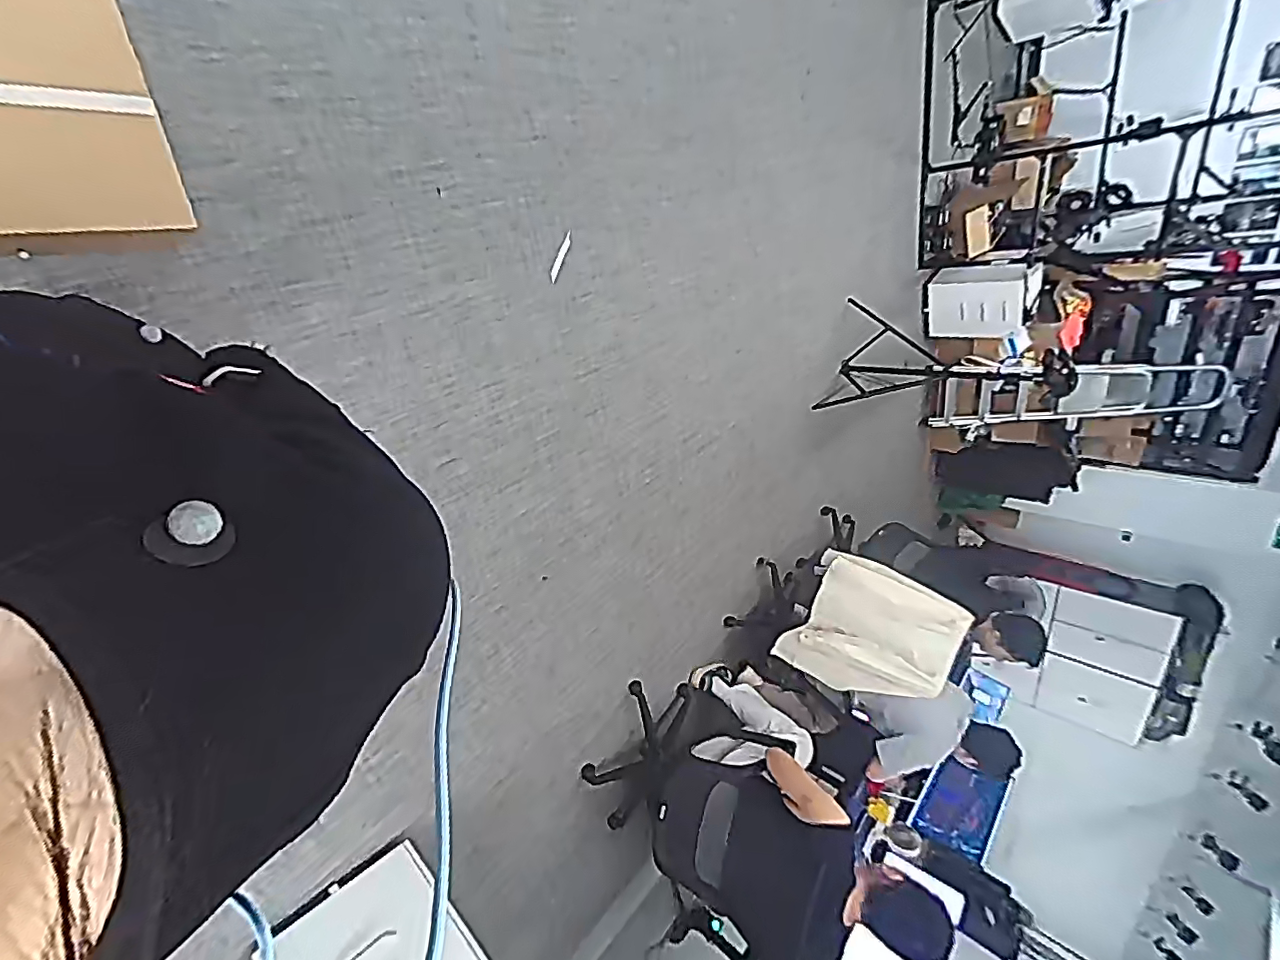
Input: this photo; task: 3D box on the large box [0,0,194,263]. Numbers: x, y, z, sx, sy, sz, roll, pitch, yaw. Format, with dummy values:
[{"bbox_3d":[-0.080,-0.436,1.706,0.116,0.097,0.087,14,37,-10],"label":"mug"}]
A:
[{"bbox_3d":[-0.942,-0.477,0.746,0.408,0.320,0.320,-26,120,-40],"label":"large box"}]
